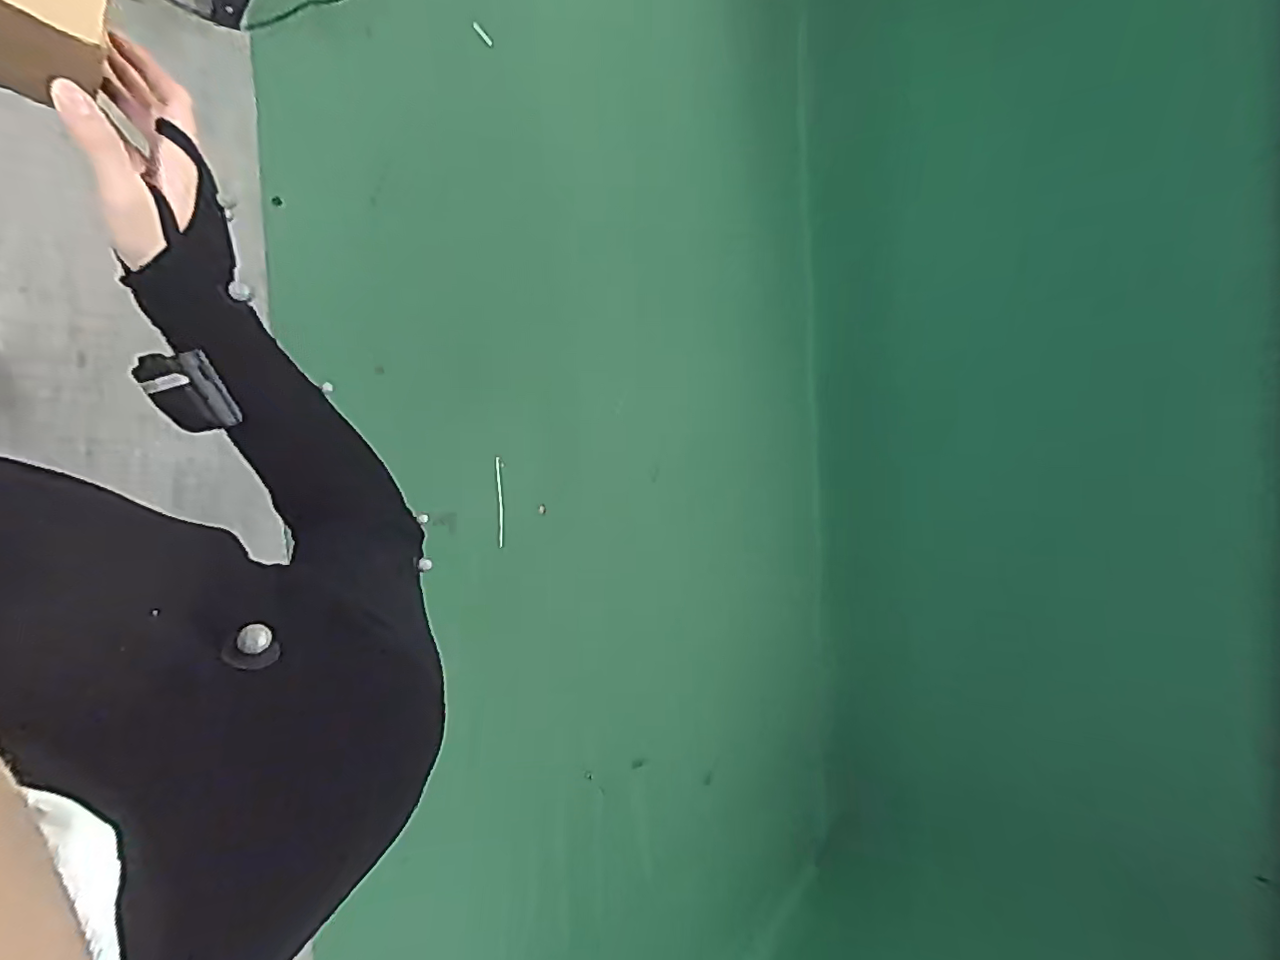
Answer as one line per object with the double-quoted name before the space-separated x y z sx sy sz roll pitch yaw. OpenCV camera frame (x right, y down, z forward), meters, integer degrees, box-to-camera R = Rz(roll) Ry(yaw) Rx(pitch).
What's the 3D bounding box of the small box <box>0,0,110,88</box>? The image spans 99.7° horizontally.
"small box" -0.411 -0.357 0.296 0.179 0.176 0.168 8 94 -48
